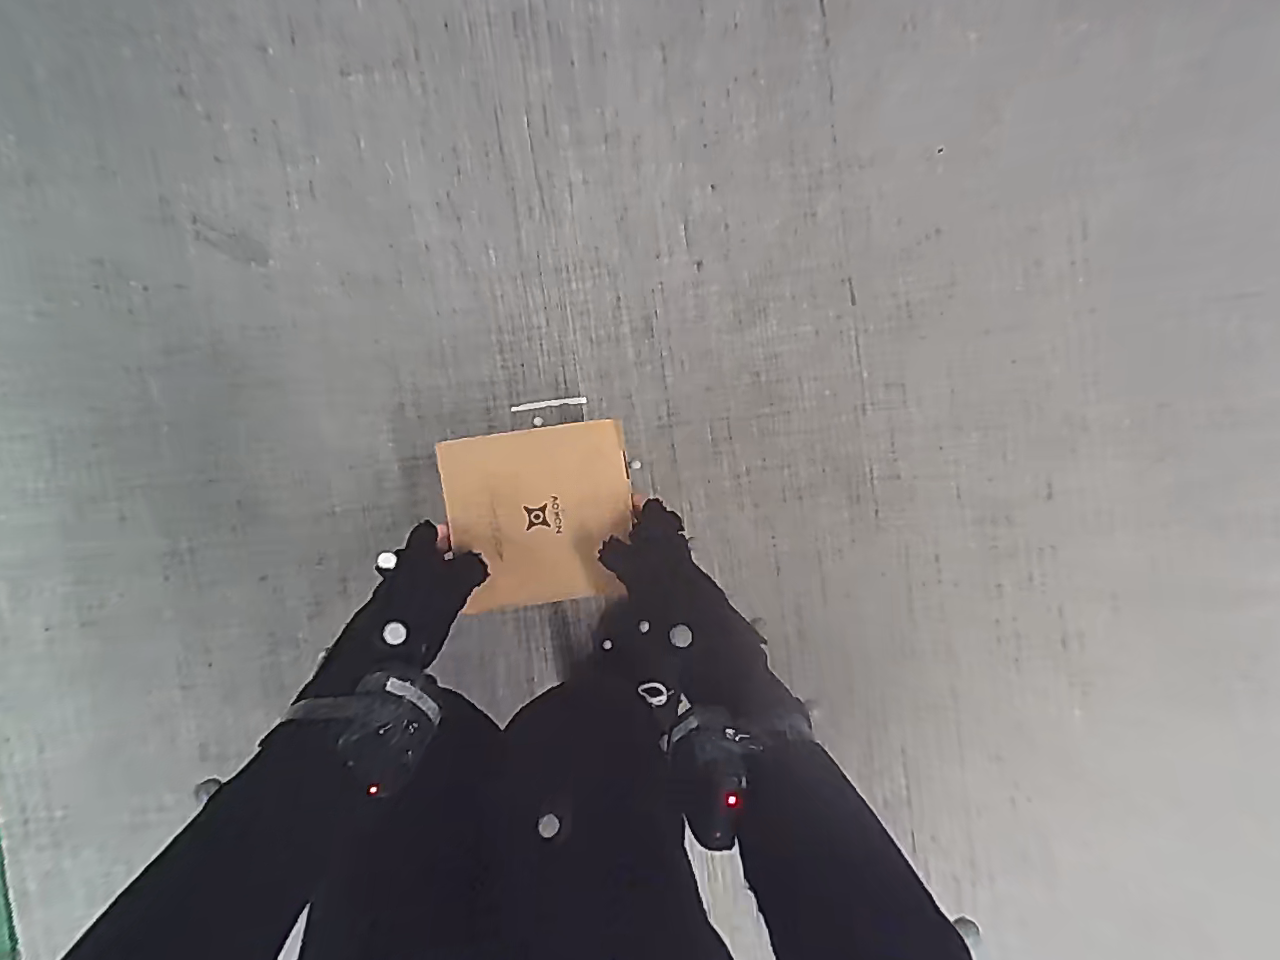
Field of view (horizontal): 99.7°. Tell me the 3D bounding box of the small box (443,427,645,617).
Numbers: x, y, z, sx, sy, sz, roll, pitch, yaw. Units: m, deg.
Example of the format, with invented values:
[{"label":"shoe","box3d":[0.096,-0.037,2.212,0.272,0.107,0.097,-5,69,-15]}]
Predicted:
[{"label":"small box","box3d":[-0.094,0.037,0.598,0.179,0.176,0.168,-9,91,0]}]
